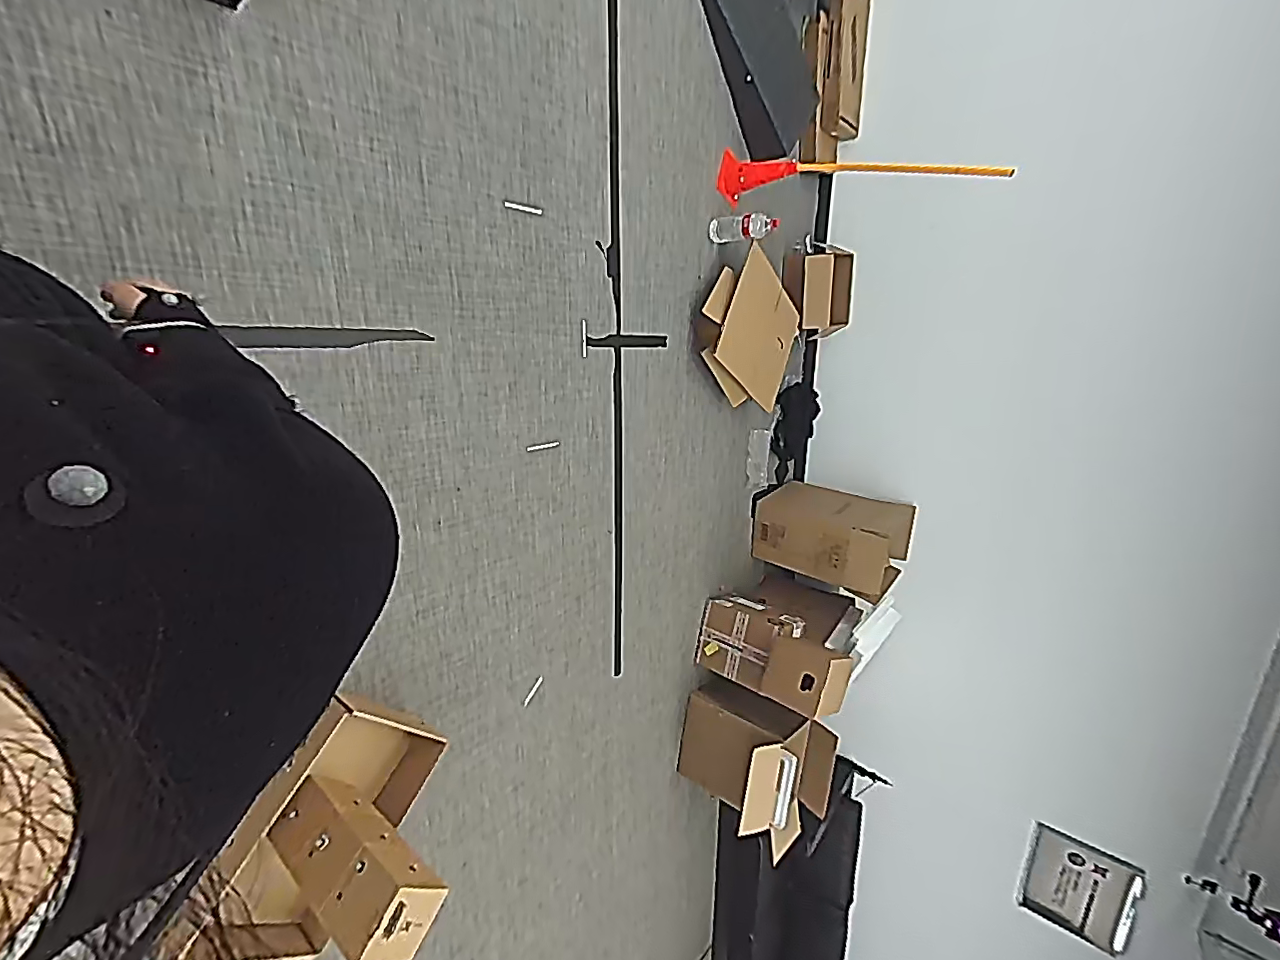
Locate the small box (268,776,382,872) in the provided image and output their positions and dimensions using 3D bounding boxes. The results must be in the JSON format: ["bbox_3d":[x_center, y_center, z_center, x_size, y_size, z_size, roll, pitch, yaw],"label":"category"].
[{"bbox_3d":[-0.864,0.946,1.484,0.168,0.176,0.179,-59,139,-24],"label":"small box"}]

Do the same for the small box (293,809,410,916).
[{"bbox_3d":[-0.737,0.978,1.387,0.168,0.176,0.179,-60,139,-23],"label":"small box"}]

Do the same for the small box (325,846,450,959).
[{"bbox_3d":[-0.606,1.009,1.293,0.168,0.176,0.179,-60,142,-22],"label":"small box"}]
